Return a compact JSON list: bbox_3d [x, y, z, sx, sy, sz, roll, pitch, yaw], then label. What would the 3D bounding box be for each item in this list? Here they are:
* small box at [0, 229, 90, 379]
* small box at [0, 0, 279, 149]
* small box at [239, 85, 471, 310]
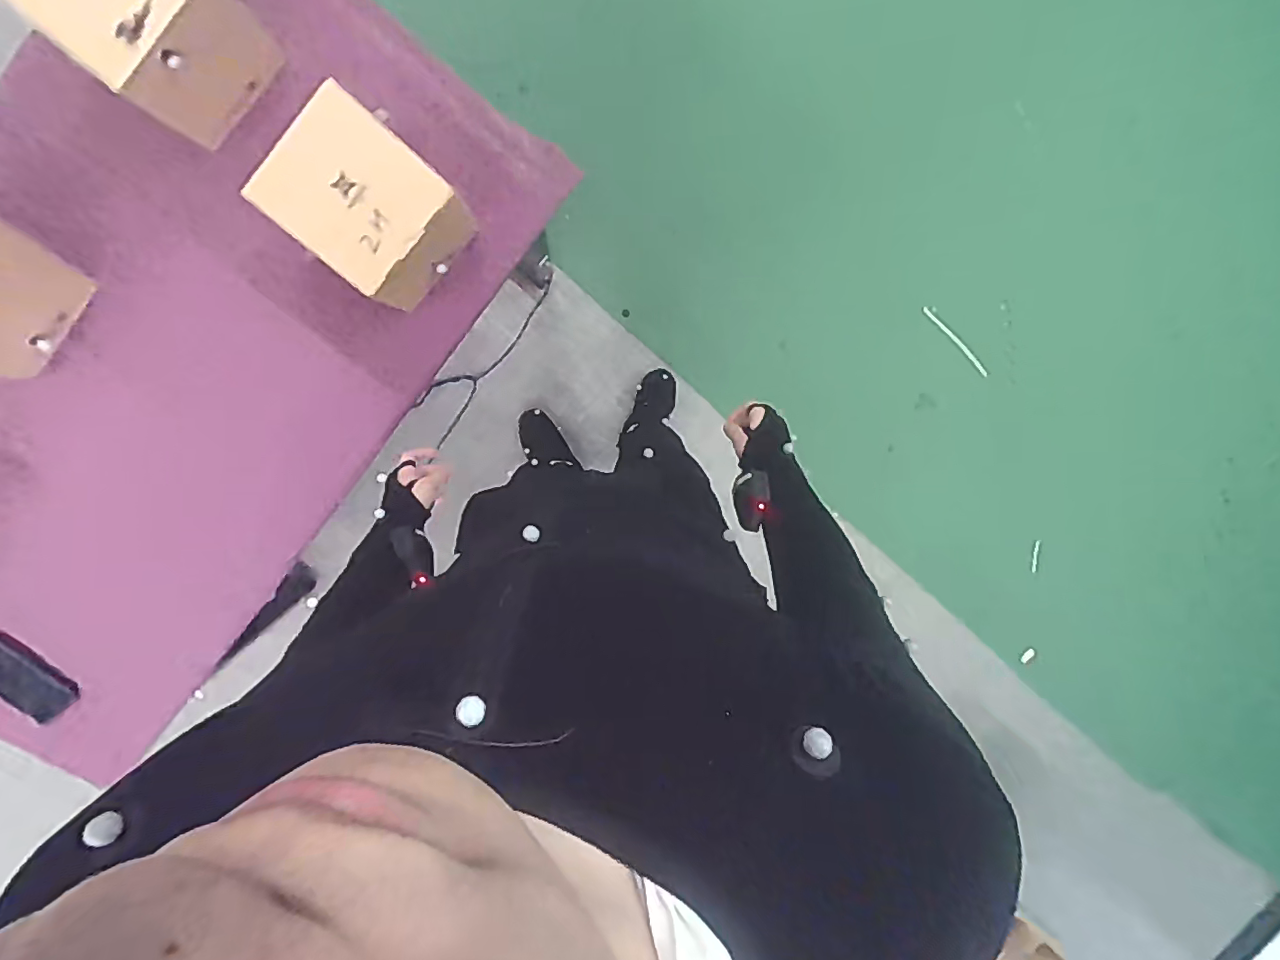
[{"bbox_3d":[-0.859,-0.233,0.655,0.179,0.176,0.168,37,94,-13],"label":"small box"},{"bbox_3d":[-0.588,-0.542,0.638,0.179,0.176,0.168,40,93,-12],"label":"small box"},{"bbox_3d":[-0.349,-0.343,0.702,0.179,0.176,0.168,40,94,-12],"label":"small box"}]
